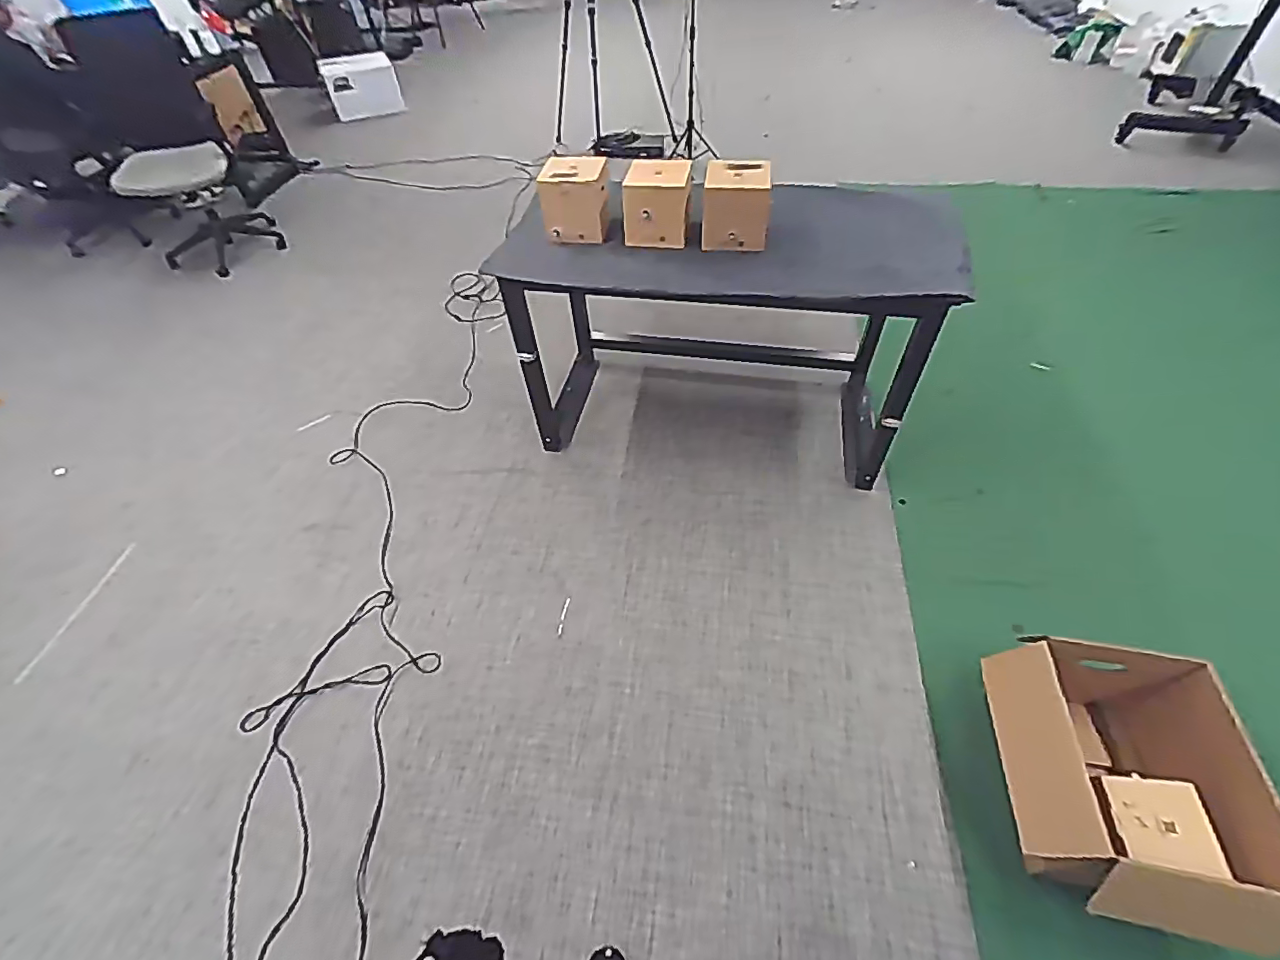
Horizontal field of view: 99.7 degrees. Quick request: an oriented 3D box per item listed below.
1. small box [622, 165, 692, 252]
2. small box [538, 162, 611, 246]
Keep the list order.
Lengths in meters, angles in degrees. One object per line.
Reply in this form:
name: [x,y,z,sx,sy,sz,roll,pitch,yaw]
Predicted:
small box: [0.053,-0.753,1.502,0.168,0.176,0.179,6,50,9]
small box: [-0.178,-0.783,1.539,0.168,0.176,0.179,4,49,6]
